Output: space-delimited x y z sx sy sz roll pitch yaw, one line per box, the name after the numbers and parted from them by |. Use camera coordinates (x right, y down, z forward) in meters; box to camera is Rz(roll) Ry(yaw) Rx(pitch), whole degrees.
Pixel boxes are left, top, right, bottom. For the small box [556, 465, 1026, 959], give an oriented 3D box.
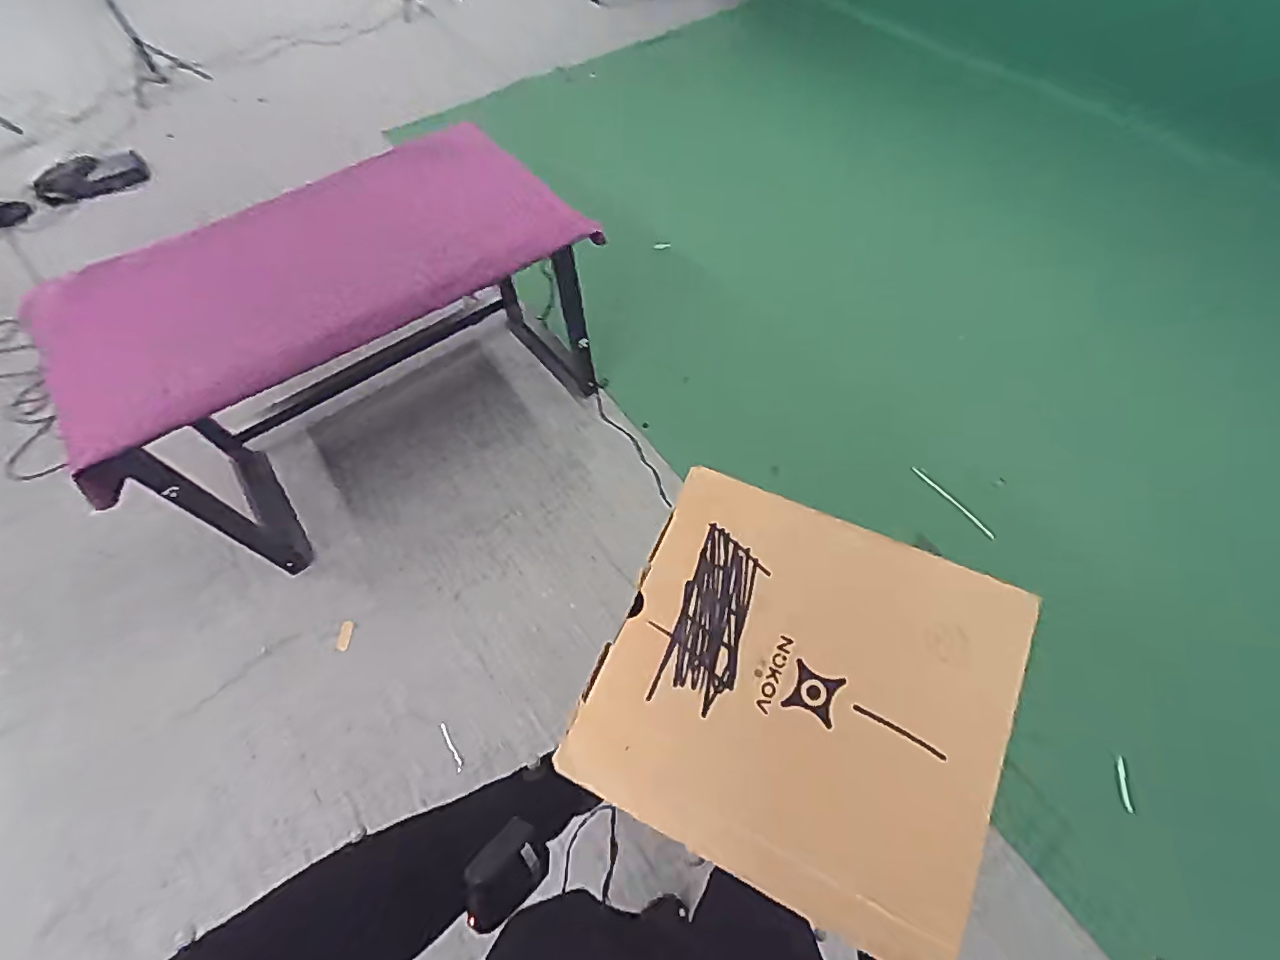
0.080 0.120 0.326 0.179 0.176 0.168 22 72 15 | small box
